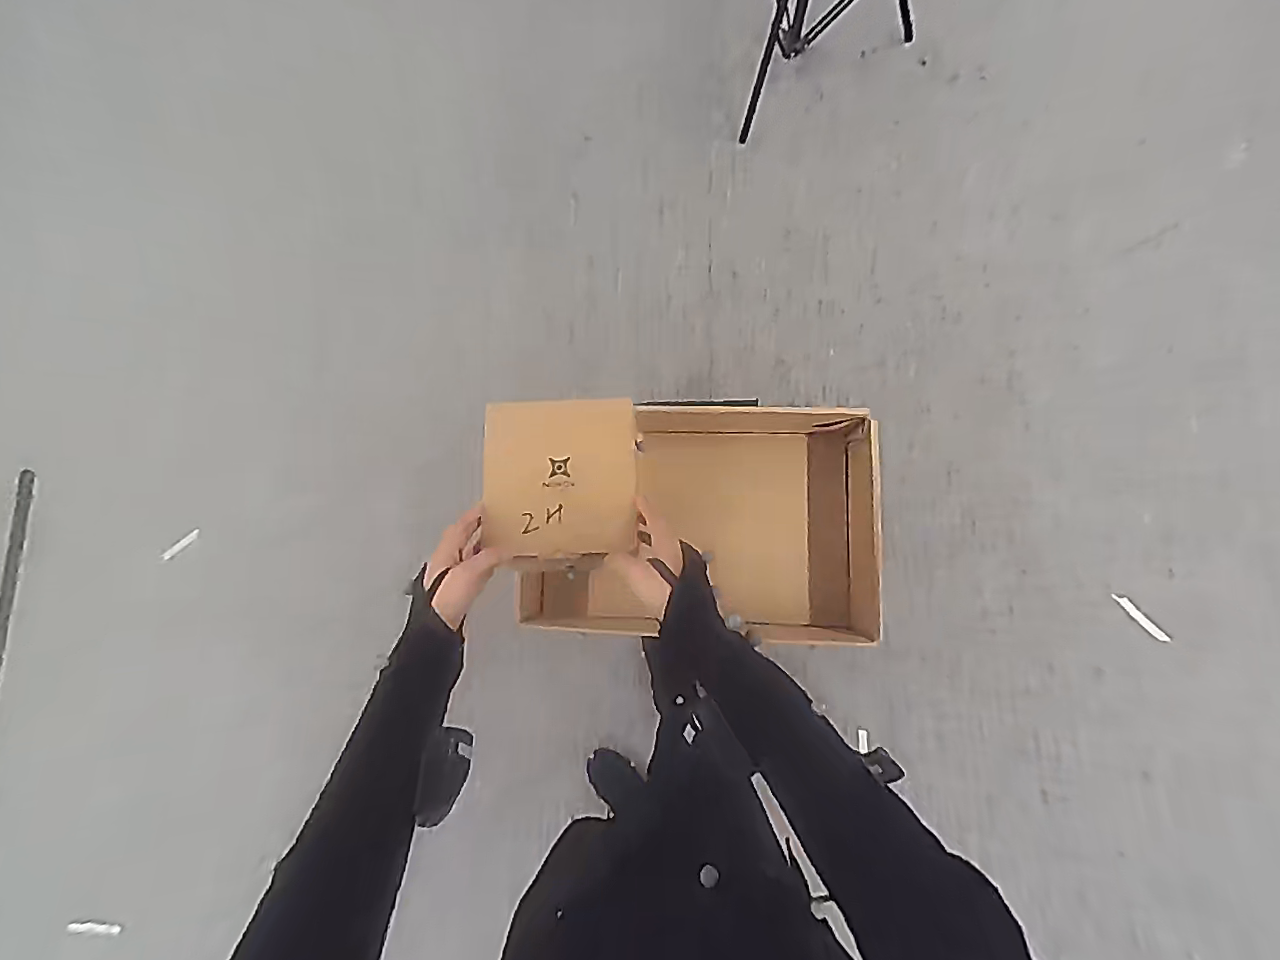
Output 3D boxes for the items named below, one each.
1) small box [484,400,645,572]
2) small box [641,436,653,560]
[{"bbox_3d":[-0.080,0.016,0.656,0.168,0.176,0.179,-2,77,2],"label":"small box"},{"bbox_3d":[-0.066,0.036,0.828,0.168,0.176,0.179,0,81,4],"label":"small box"}]
